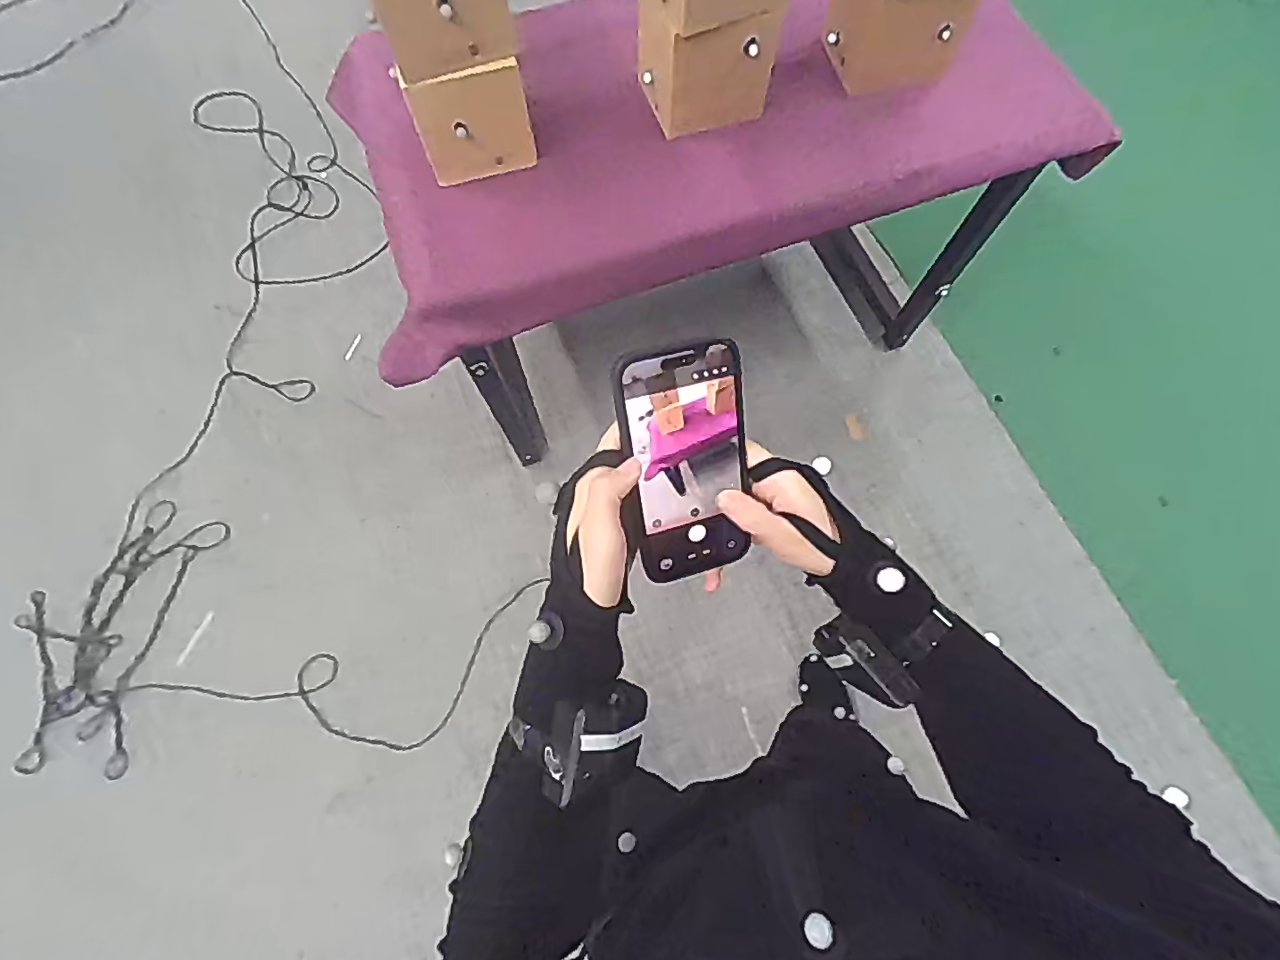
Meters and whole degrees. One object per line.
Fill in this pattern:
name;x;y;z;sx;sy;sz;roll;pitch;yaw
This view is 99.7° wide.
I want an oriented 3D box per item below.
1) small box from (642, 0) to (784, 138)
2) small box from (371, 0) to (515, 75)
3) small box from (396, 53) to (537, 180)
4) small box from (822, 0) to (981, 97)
small box;0.106;-0.703;0.882;0.179;0.176;0.168;-17;71;-5
small box;-0.277;-0.669;0.702;0.168;0.176;0.179;-21;72;-7
small box;-0.272;-0.607;0.854;0.168;0.176;0.179;-17;71;-5
small box;0.434;-0.790;0.910;0.179;0.176;0.168;-11;70;-3
